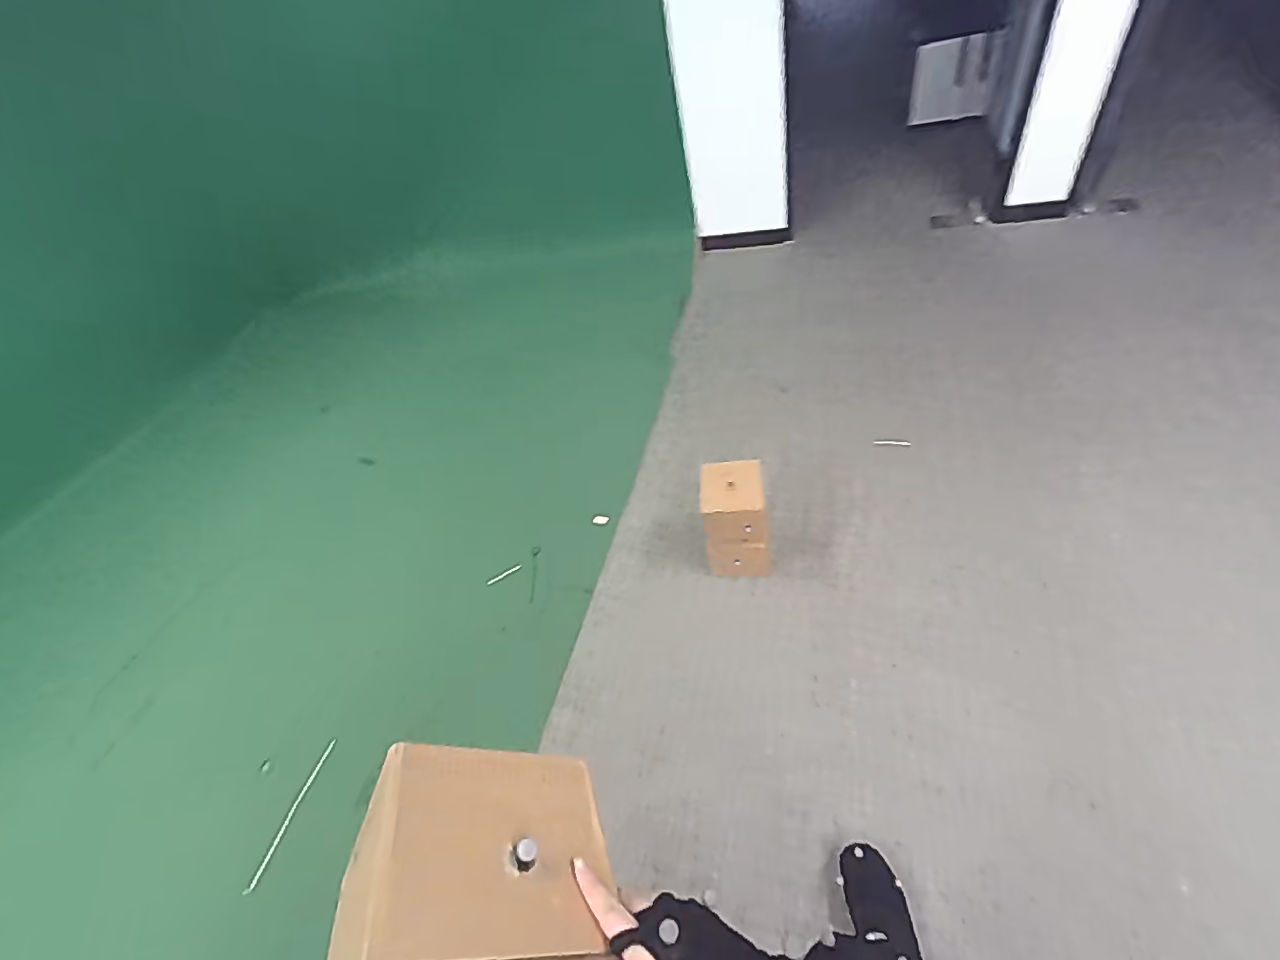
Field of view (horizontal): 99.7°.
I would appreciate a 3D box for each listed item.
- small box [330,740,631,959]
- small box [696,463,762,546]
[{"bbox_3d":[-0.135,0.337,0.434,0.168,0.179,0.176,-67,24,12],"label":"small box"},{"bbox_3d":[0.254,0.075,1.524,0.168,0.176,0.179,-4,48,12],"label":"small box"}]
